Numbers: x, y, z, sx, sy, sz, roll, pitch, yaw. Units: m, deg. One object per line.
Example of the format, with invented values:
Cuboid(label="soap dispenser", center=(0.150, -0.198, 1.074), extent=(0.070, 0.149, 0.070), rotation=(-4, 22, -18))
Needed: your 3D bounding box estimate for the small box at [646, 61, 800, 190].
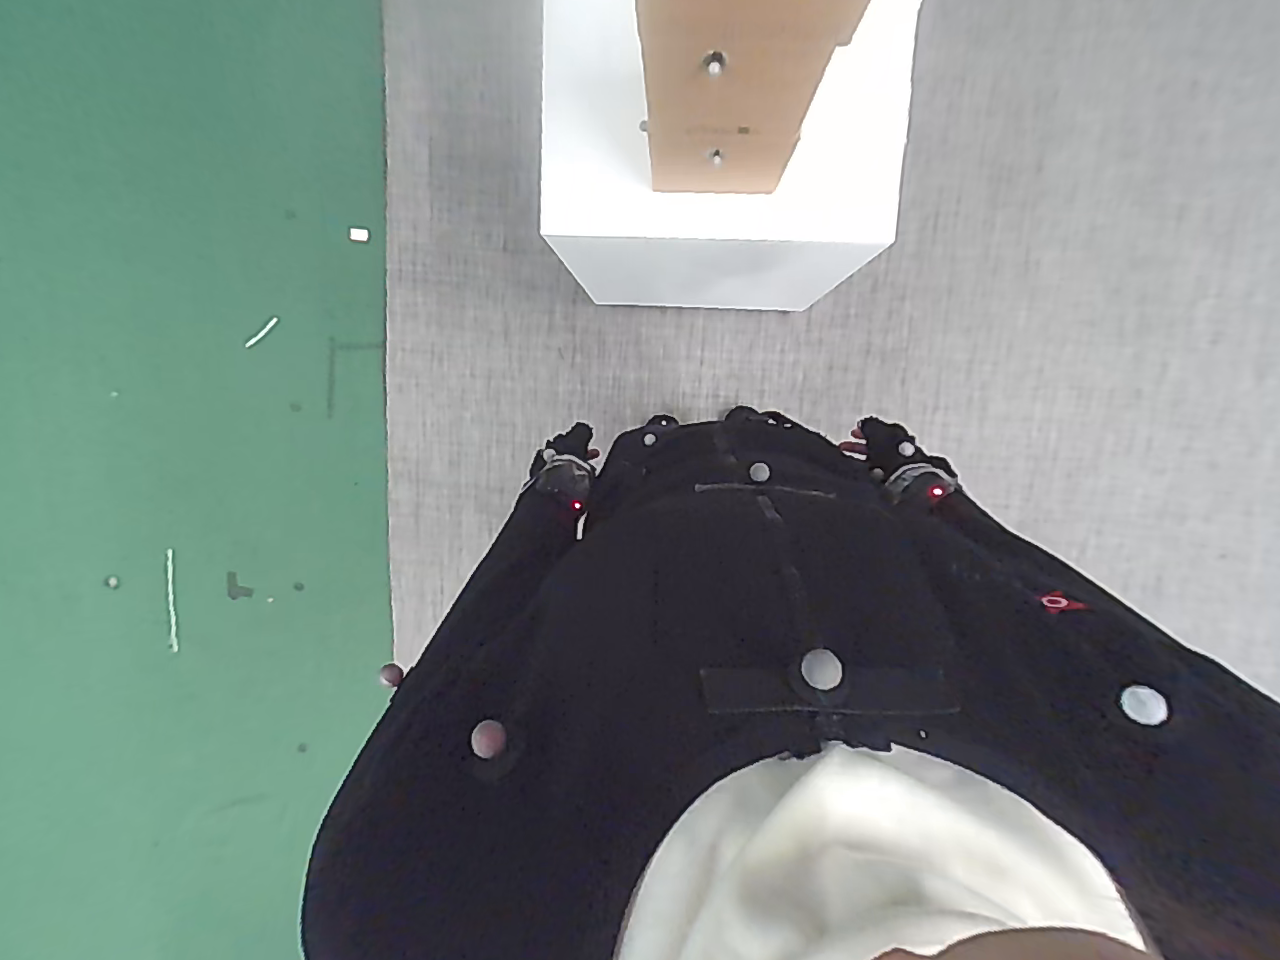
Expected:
Cuboid(label="small box", center=(0.103, -0.485, 0.683), extent=(0.179, 0.176, 0.168), rotation=(3, 99, 3))

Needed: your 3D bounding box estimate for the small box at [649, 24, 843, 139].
Cuboid(label="small box", center=(0.095, -0.465, 0.524), extent=(0.168, 0.176, 0.179), rotation=(2, 99, 3))

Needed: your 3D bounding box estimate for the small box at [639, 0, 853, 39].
Cuboid(label="small box", center=(0.085, -0.437, 0.359), extent=(0.179, 0.176, 0.168), rotation=(5, 99, 3))
